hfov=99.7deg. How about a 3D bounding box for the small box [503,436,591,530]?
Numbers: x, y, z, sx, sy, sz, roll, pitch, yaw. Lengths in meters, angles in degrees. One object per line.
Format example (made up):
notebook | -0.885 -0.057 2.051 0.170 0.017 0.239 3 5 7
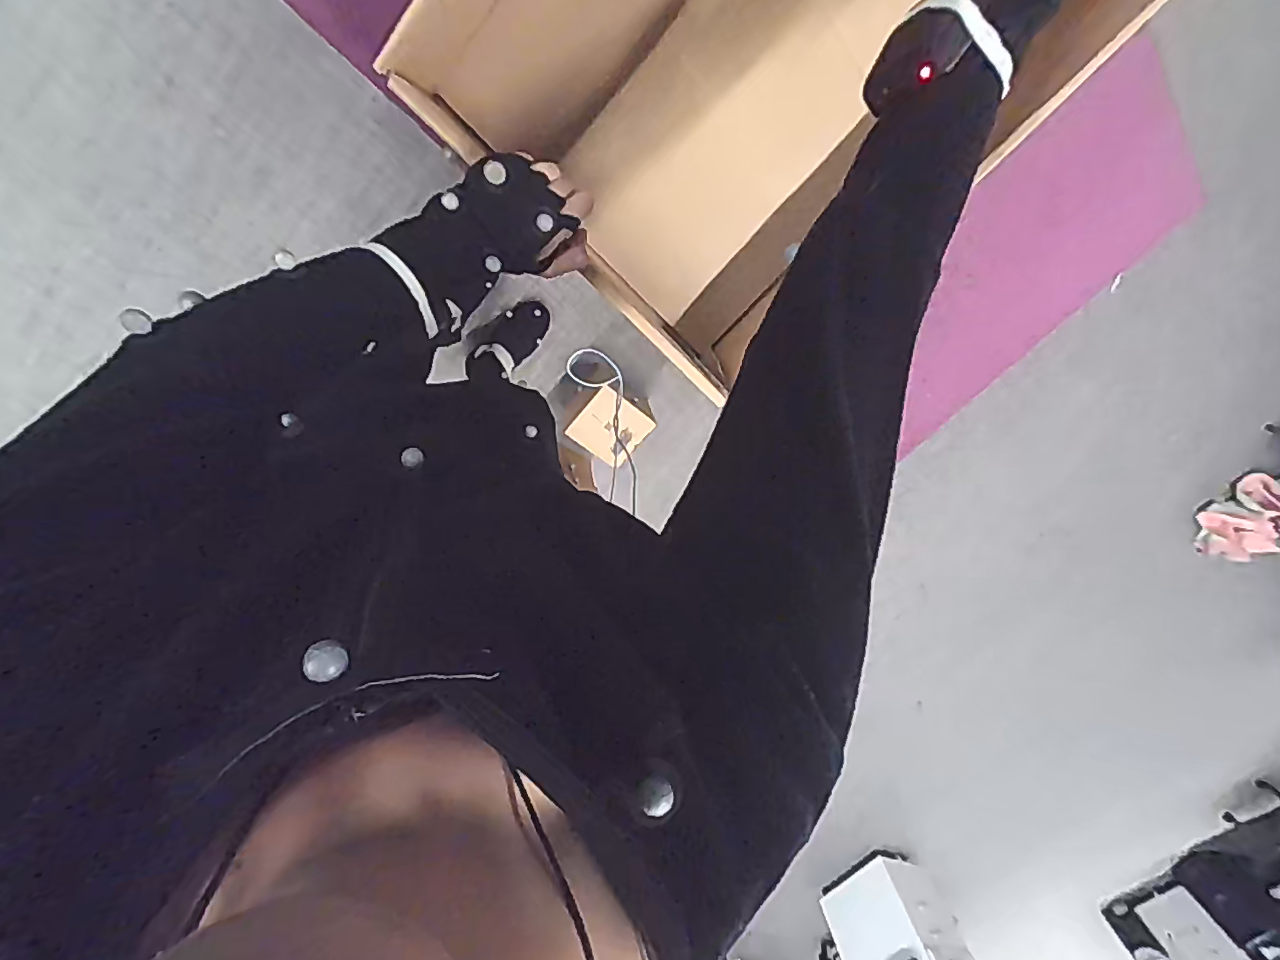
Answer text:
small box | -0.258 0.001 1.496 0.179 0.176 0.168 32 109 -25
